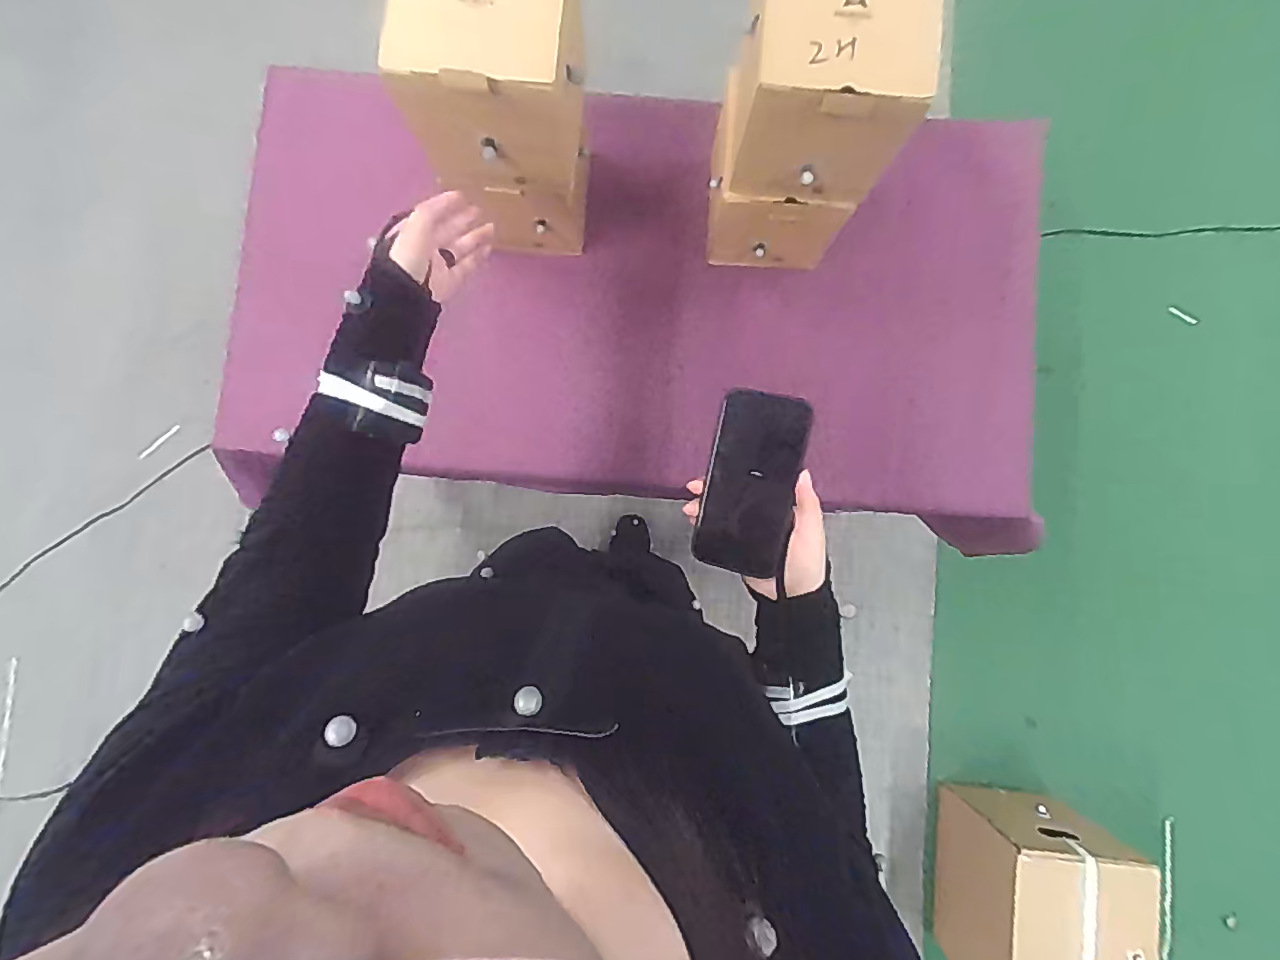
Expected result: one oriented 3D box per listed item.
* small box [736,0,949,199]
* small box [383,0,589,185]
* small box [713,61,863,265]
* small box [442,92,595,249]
[{"bbox_3d":[0.202,-0.438,0.577,0.168,0.176,0.179,5,87,1],"label":"small box"},{"bbox_3d":[-0.148,-0.449,0.580,0.168,0.176,0.179,6,87,-1],"label":"small box"},{"bbox_3d":[0.194,-0.421,0.741,0.168,0.176,0.179,3,87,0],"label":"small box"},{"bbox_3d":[-0.155,-0.442,0.744,0.168,0.176,0.179,5,86,0],"label":"small box"}]
